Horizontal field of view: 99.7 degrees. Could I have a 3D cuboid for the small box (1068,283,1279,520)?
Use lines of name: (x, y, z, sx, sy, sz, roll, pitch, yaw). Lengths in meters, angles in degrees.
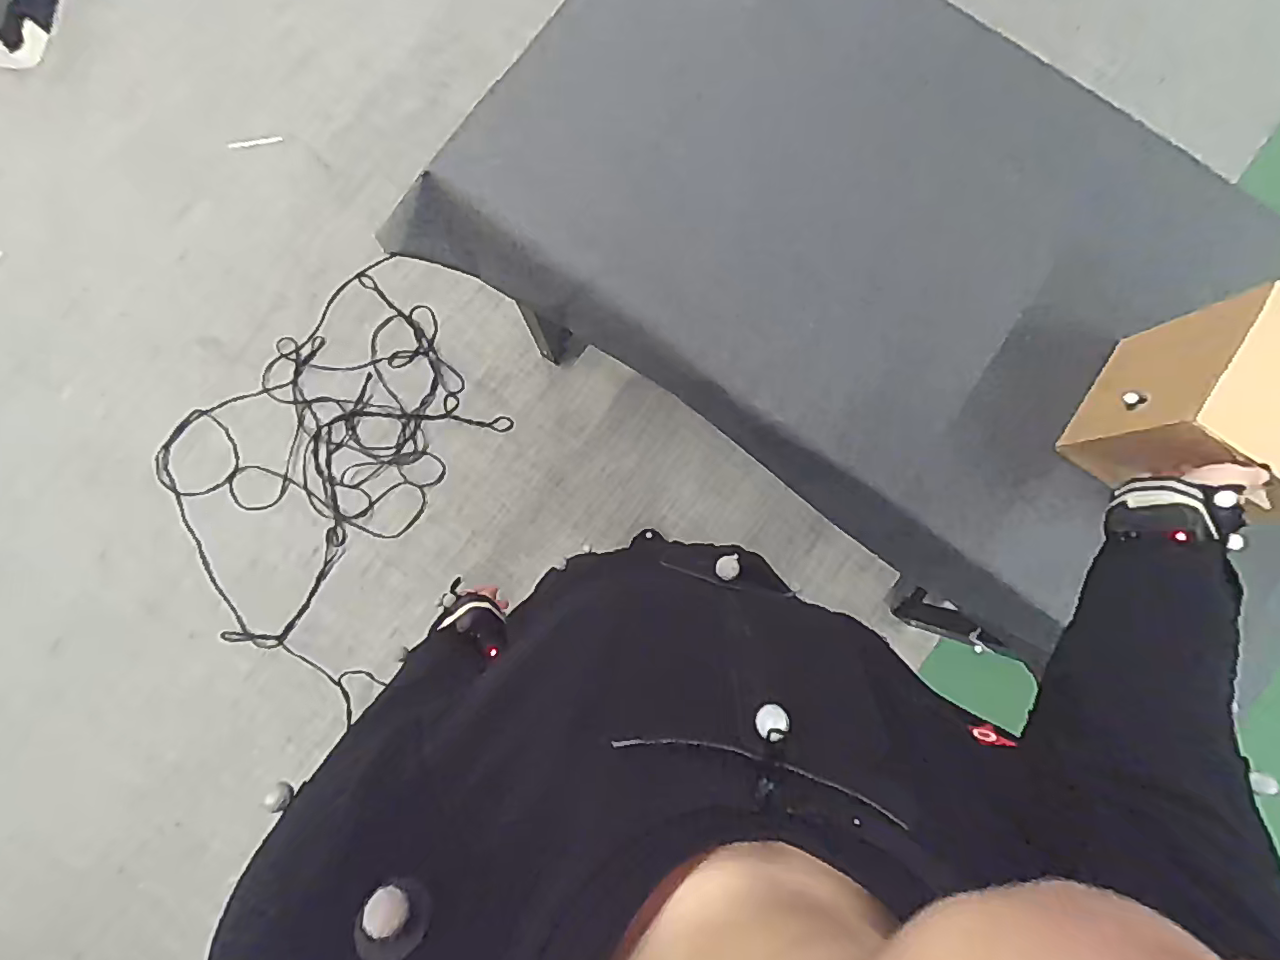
small box: (0.627, -0.068, 0.590, 0.168, 0.176, 0.179, 35, 83, 1)
